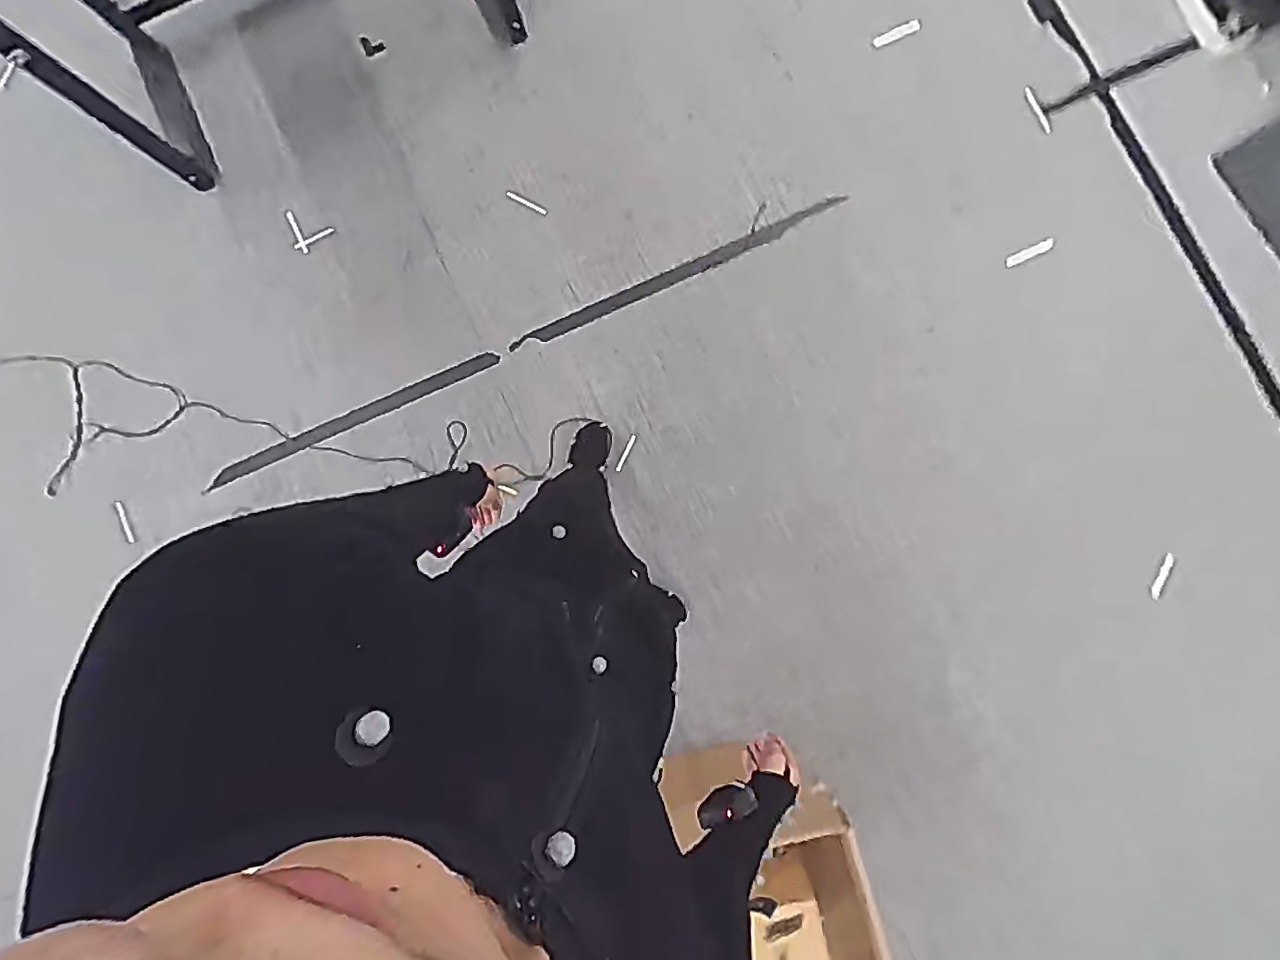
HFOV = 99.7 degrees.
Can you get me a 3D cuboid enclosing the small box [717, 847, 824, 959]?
[{"bbox_3d":[0.256,0.872,1.082,0.168,0.176,0.179,-12,88,3],"label":"small box"}]
